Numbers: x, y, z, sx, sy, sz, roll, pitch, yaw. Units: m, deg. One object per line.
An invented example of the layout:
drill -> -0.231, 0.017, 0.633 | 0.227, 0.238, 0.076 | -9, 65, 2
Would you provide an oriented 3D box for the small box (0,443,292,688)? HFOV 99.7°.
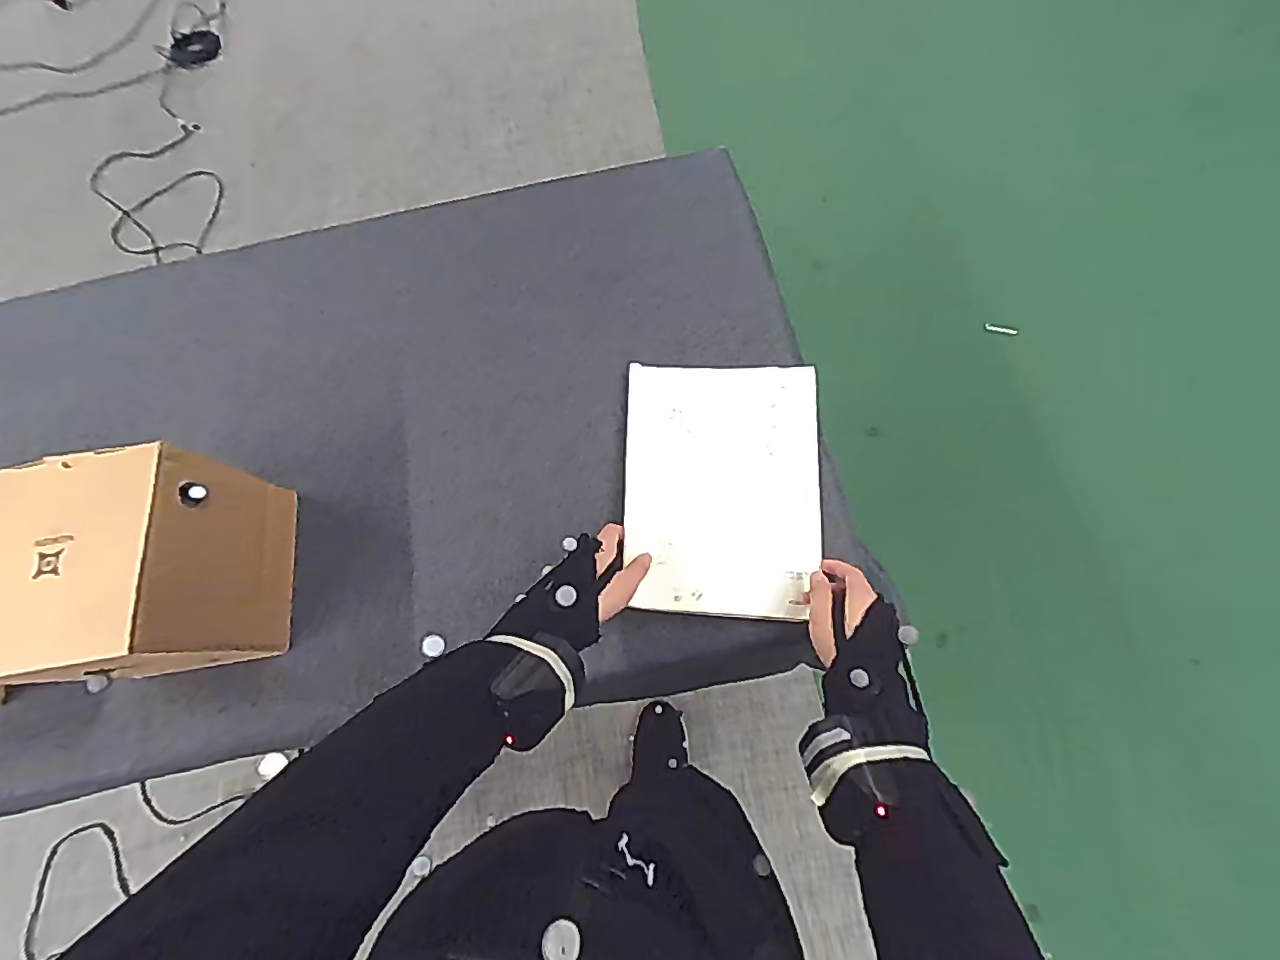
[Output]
small box -> -0.455, 0.087, 0.496 | 0.168, 0.176, 0.179 | -10, 71, 3
